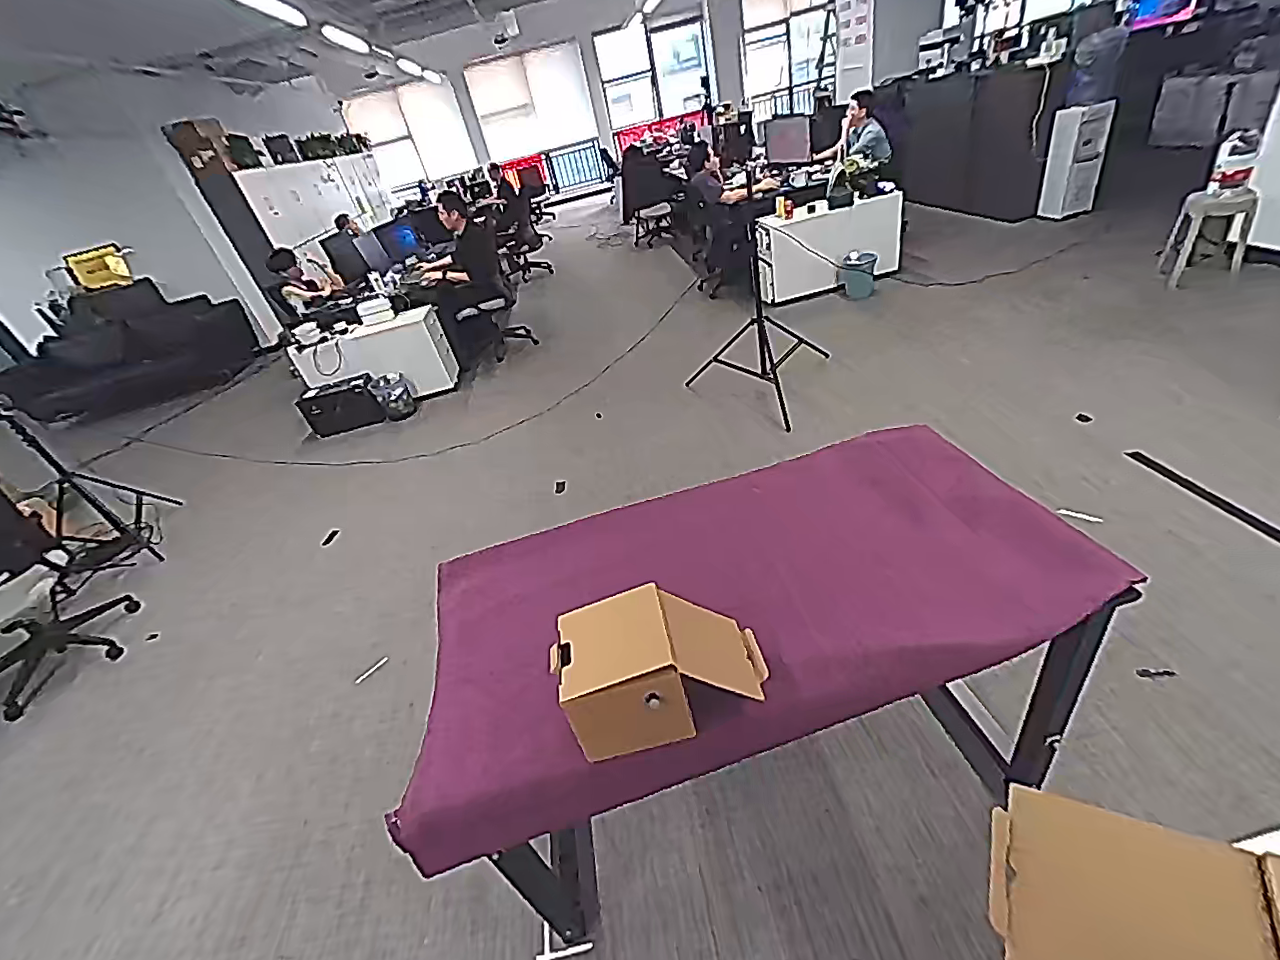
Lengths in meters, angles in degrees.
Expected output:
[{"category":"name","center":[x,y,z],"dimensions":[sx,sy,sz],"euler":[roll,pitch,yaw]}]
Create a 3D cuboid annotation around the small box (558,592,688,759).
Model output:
[{"category":"small box","center":[-0.025,0.315,0.872],"dimensions":[0.179,0.176,0.168],"euler":[-15,33,1]}]
